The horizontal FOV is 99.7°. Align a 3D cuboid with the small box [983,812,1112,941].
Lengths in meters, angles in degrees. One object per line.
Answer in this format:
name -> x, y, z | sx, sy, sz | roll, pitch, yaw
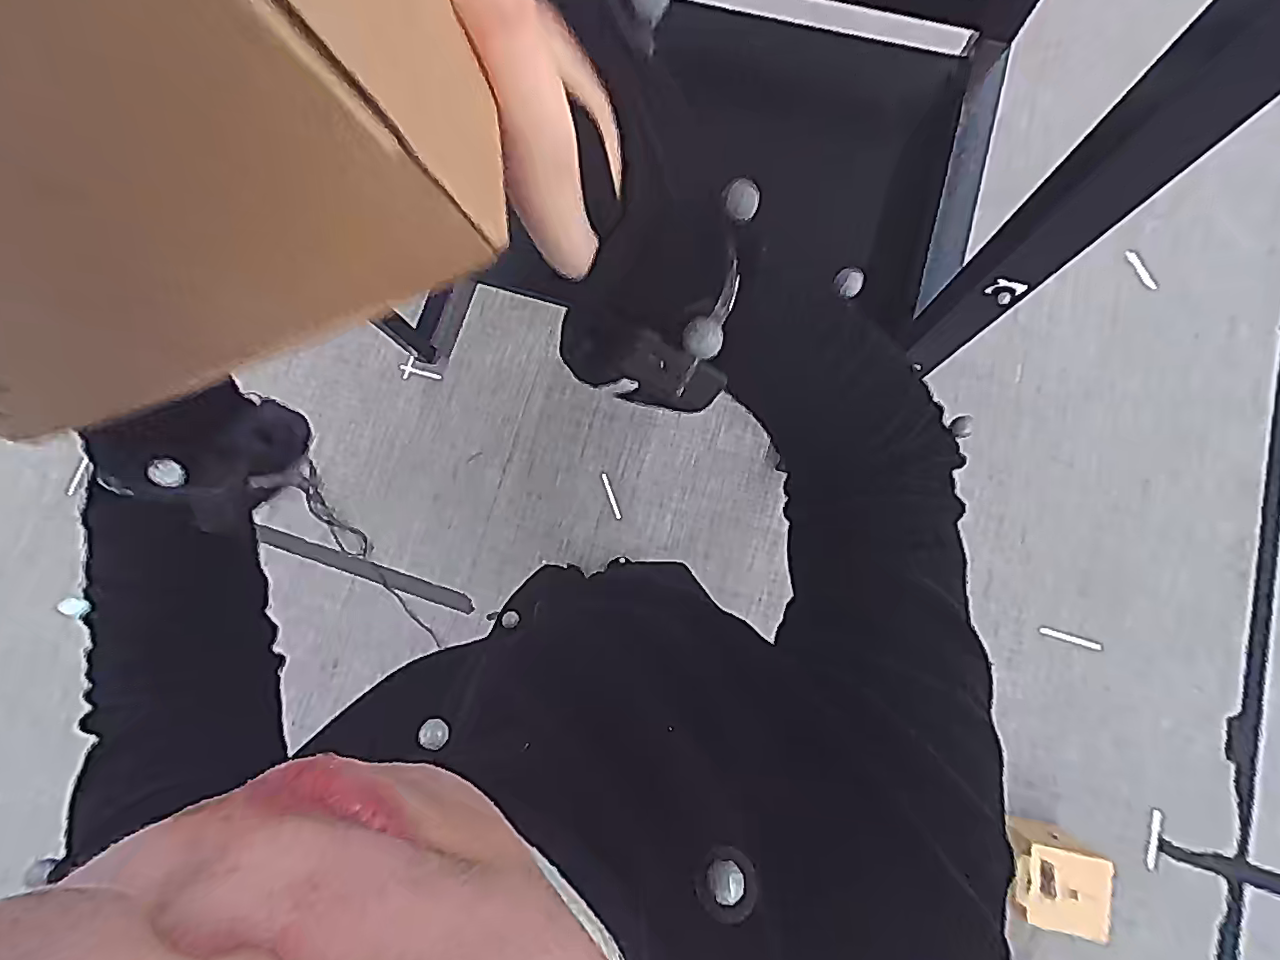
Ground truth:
small box -> 0.933, 0.903, 1.252 | 0.179, 0.176, 0.168 | 11, 82, 4
